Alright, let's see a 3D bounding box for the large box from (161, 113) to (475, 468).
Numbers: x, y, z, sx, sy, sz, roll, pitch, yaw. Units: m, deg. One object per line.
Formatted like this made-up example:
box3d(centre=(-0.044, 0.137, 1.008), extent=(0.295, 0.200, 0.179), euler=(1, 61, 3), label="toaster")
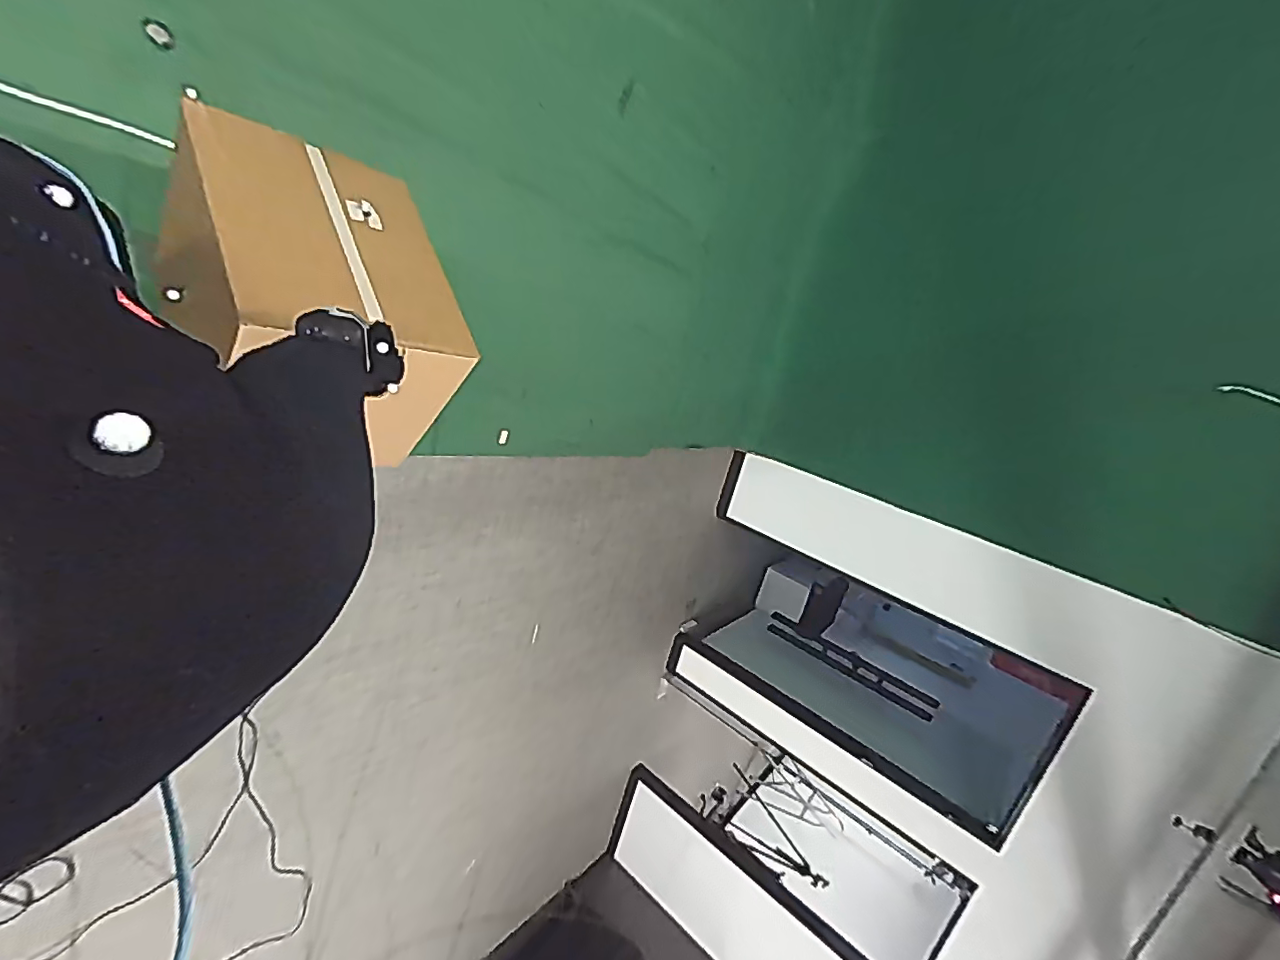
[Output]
box3d(centre=(-0.536, -0.269, 0.884), extent=(0.320, 0.408, 0.320), euler=(-40, 158, 34), label="large box")
